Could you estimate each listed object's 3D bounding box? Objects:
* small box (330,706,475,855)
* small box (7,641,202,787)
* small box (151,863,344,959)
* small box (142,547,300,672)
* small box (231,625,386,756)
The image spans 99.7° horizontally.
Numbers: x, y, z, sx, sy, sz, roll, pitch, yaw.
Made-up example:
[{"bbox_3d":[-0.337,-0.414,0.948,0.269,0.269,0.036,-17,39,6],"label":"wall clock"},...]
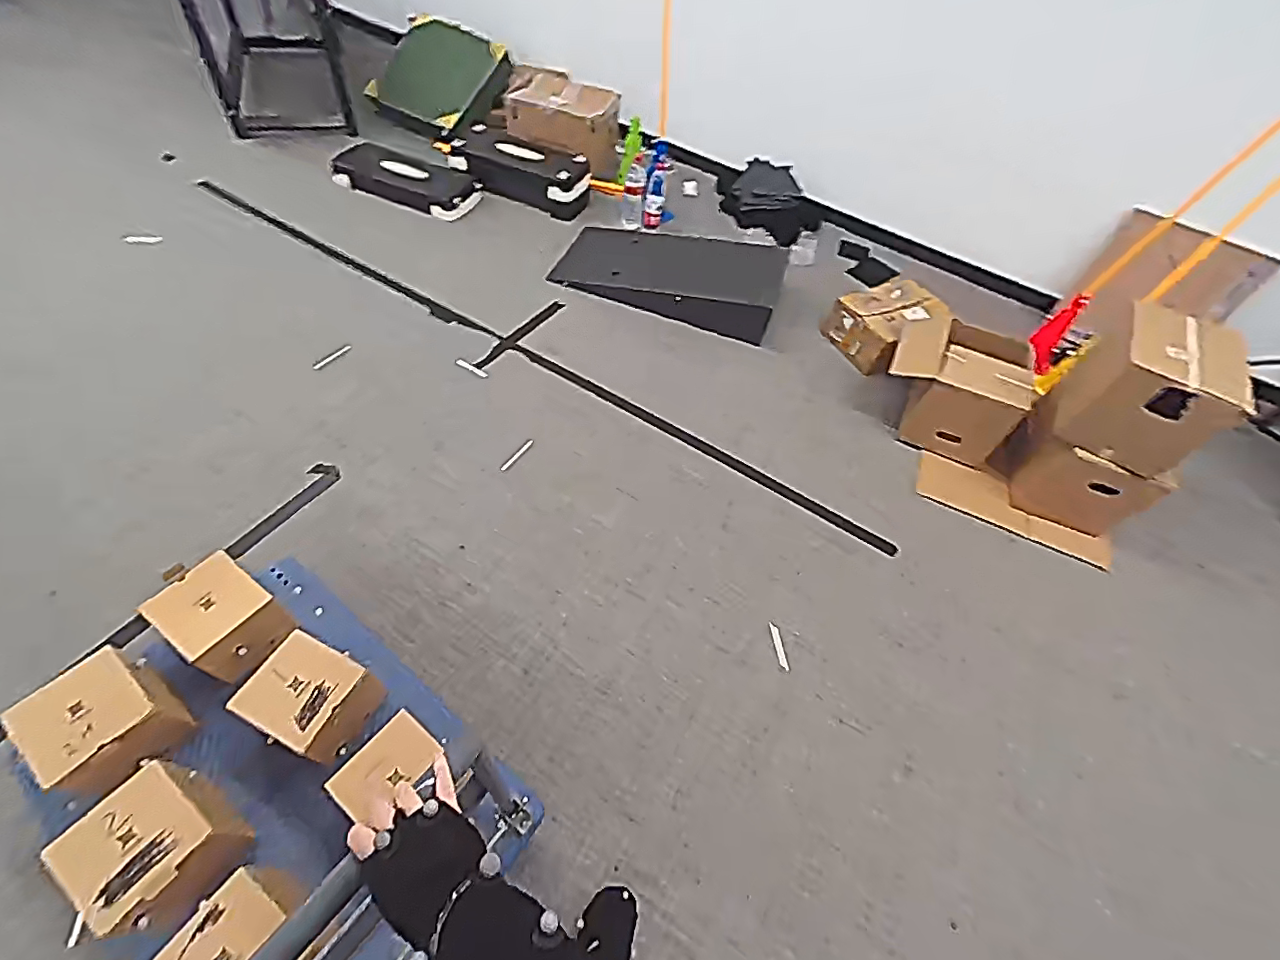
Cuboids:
[{"bbox_3d":[-0.431,0.562,1.012,0.179,0.176,0.168,36,56,16],"label":"small box"},{"bbox_3d":[-0.975,0.438,1.002,0.179,0.176,0.168,38,58,16],"label":"small box"},{"bbox_3d":[-0.608,0.741,0.852,0.179,0.176,0.168,33,55,13],"label":"small box"},{"bbox_3d":[-0.863,0.280,1.136,0.179,0.176,0.168,33,57,14],"label":"small box"},{"bbox_3d":[-0.640,0.423,1.072,0.179,0.176,0.168,26,55,9],"label":"small box"}]
